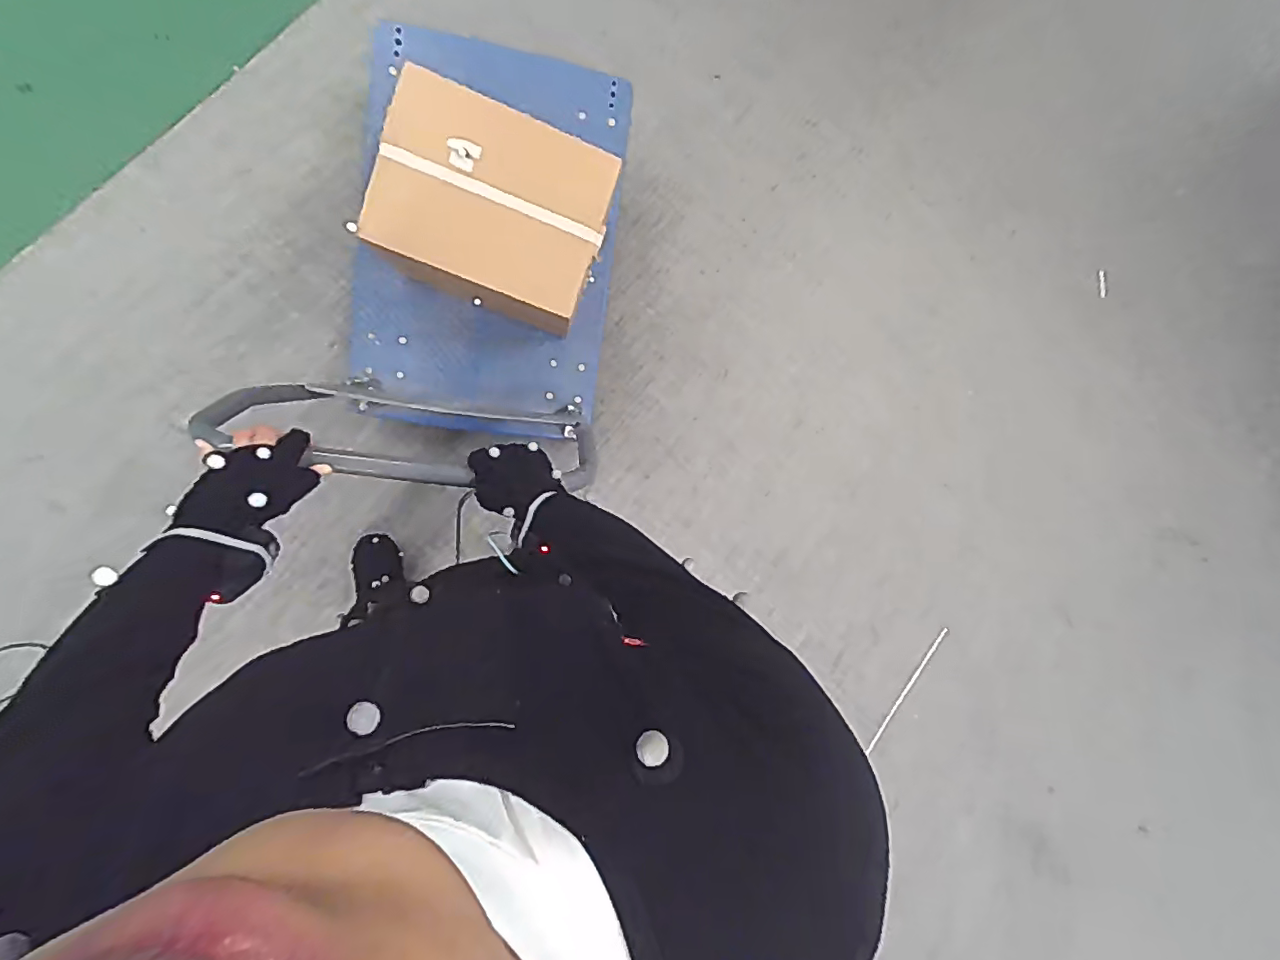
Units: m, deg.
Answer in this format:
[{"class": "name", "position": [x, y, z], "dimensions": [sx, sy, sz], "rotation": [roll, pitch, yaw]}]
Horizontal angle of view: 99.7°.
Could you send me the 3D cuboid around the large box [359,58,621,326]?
[{"class": "large box", "position": [-0.286, -0.549, 1.126], "dimensions": [0.408, 0.320, 0.320], "rotation": [19, 95, -11]}]
